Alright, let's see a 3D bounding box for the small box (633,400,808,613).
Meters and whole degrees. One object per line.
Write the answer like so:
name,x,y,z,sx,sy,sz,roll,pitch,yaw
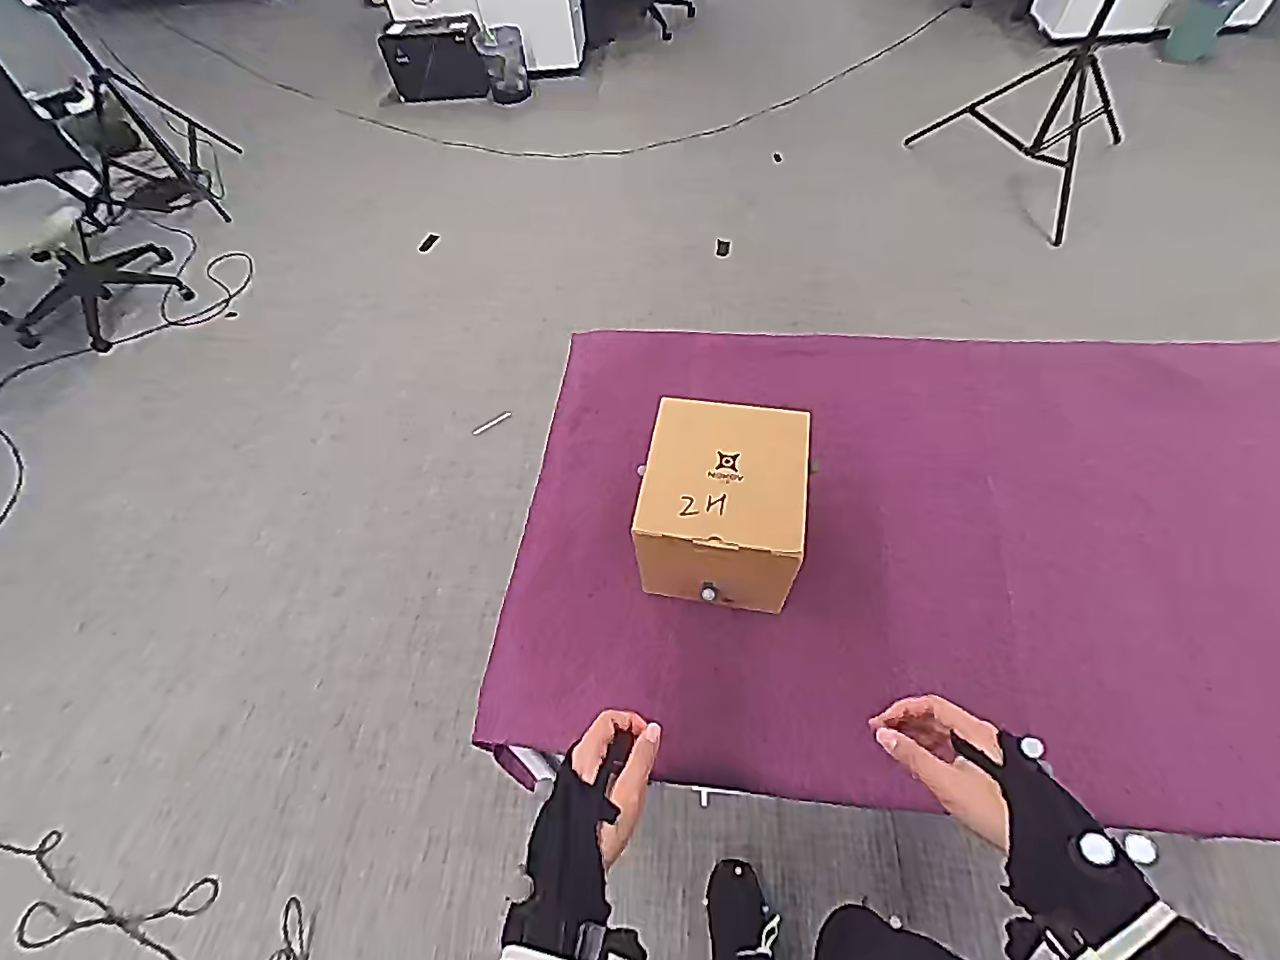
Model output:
small box,0.093,0.033,0.631,0.168,0.176,0.179,7,58,10
